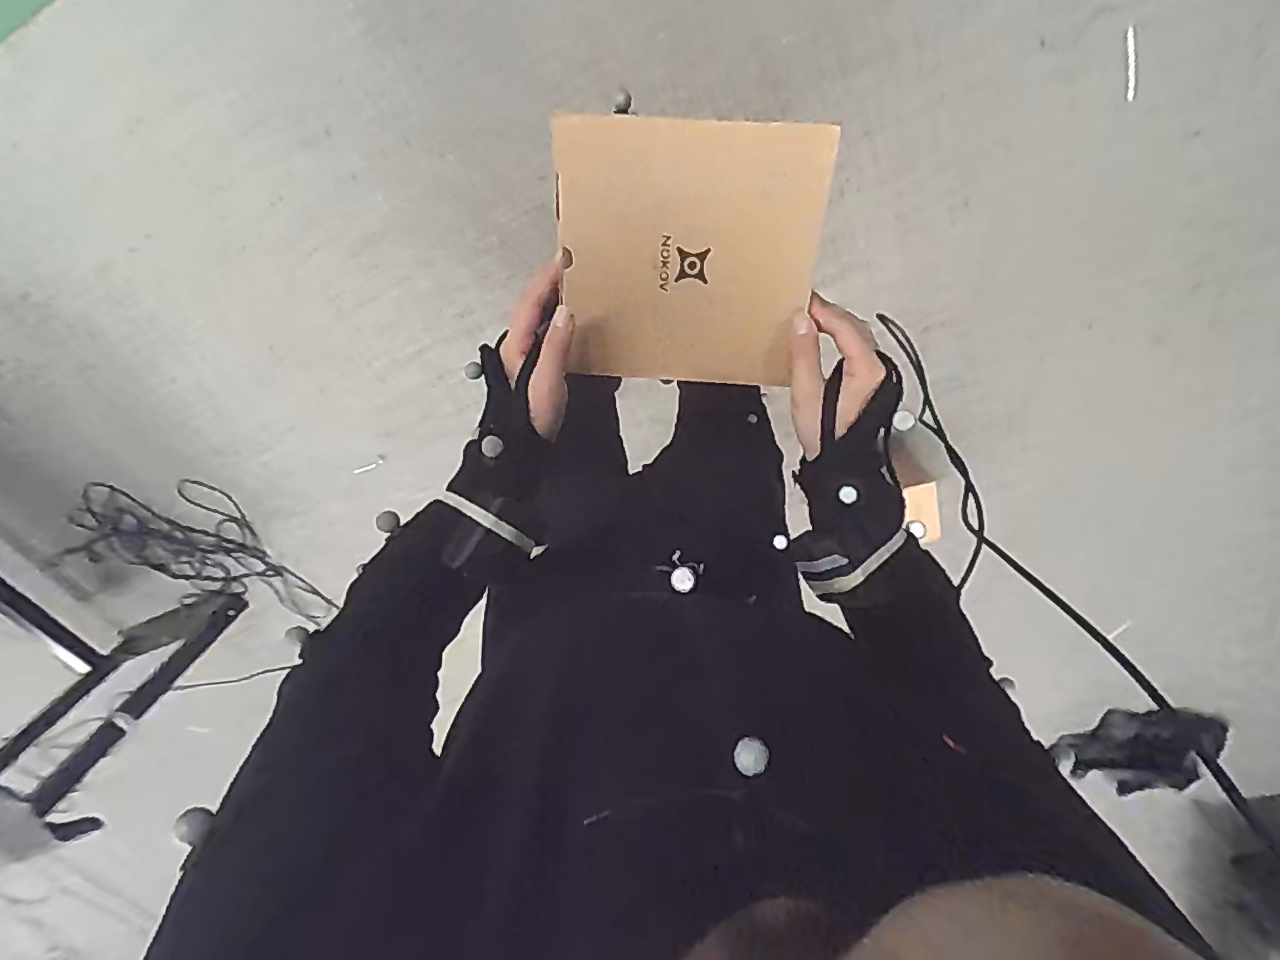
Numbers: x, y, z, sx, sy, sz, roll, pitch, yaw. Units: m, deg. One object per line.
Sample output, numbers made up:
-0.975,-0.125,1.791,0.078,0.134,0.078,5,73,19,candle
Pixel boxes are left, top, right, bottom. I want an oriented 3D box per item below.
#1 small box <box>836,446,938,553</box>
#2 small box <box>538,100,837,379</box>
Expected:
0.578,0.043,1.284,0.179,0.176,0.168,-16,119,12,small box
0.030,-0.189,0.419,0.179,0.176,0.168,4,122,4,small box
